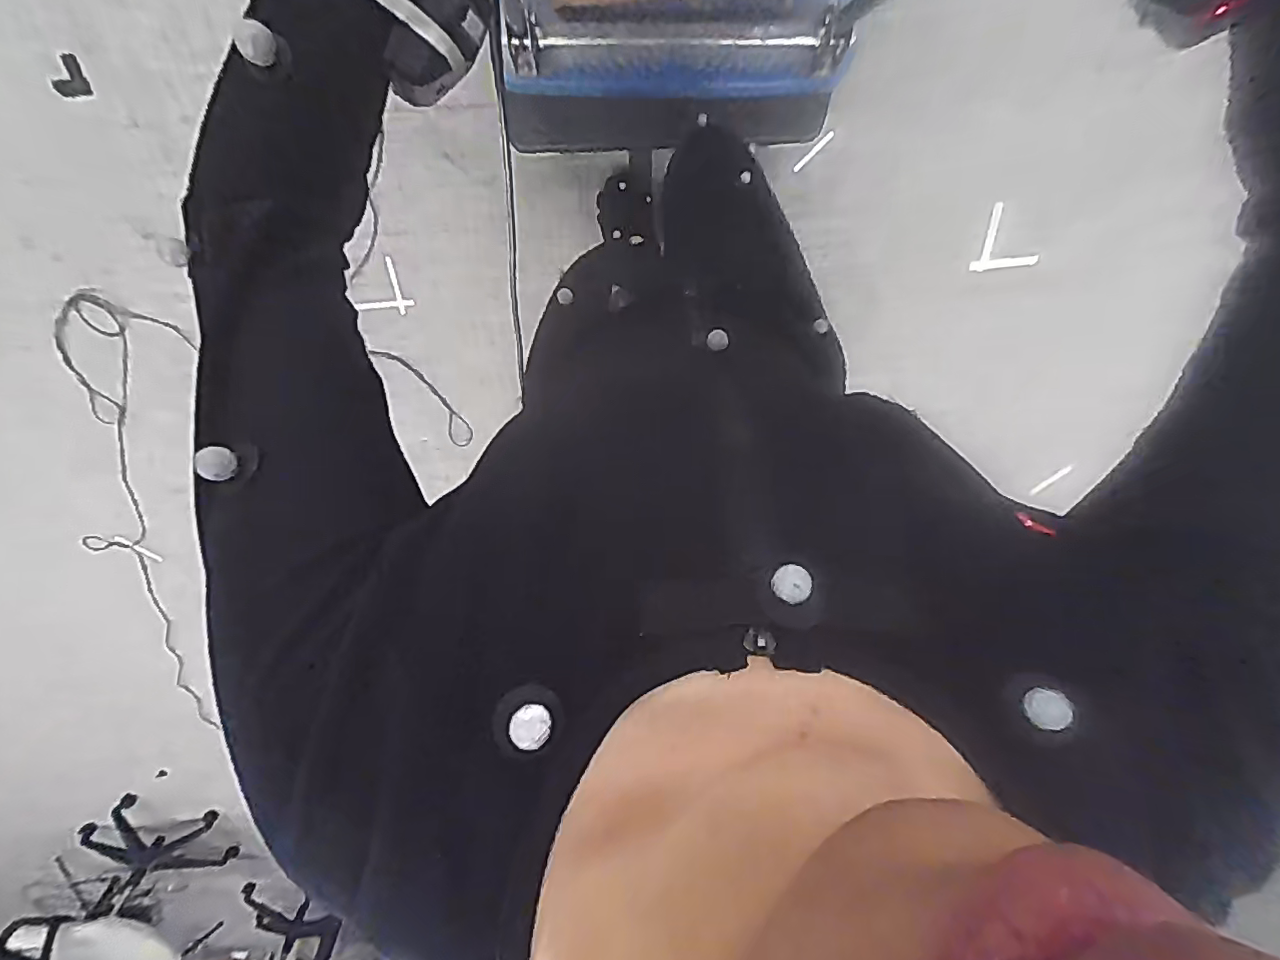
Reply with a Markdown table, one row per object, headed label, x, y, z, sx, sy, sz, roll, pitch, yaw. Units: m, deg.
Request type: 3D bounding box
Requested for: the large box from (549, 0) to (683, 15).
| label | x | y | z | sx | sy | sz | roll | pitch | yaw |
| --- | --- | --- | --- | --- | --- | --- | --- | --- | --- |
| large box | 0.049 | -0.836 | 0.656 | 0.408 | 0.320 | 0.320 | -8 | 113 | -2 |
